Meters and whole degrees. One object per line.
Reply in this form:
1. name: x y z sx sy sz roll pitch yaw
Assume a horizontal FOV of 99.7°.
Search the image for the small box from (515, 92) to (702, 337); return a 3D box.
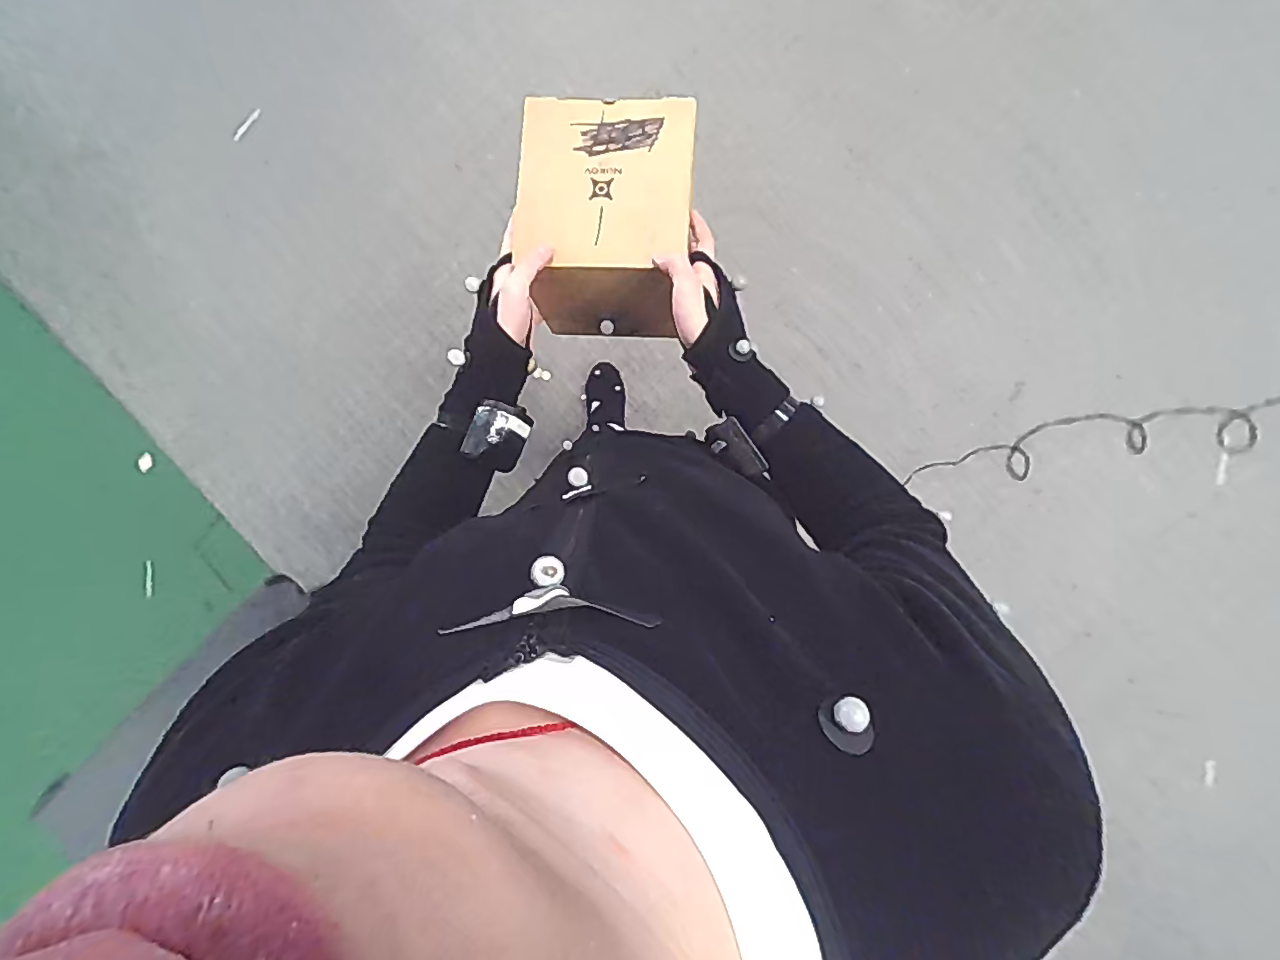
1. small box: -0.025 -0.275 0.588 0.168 0.176 0.179 4 84 5
